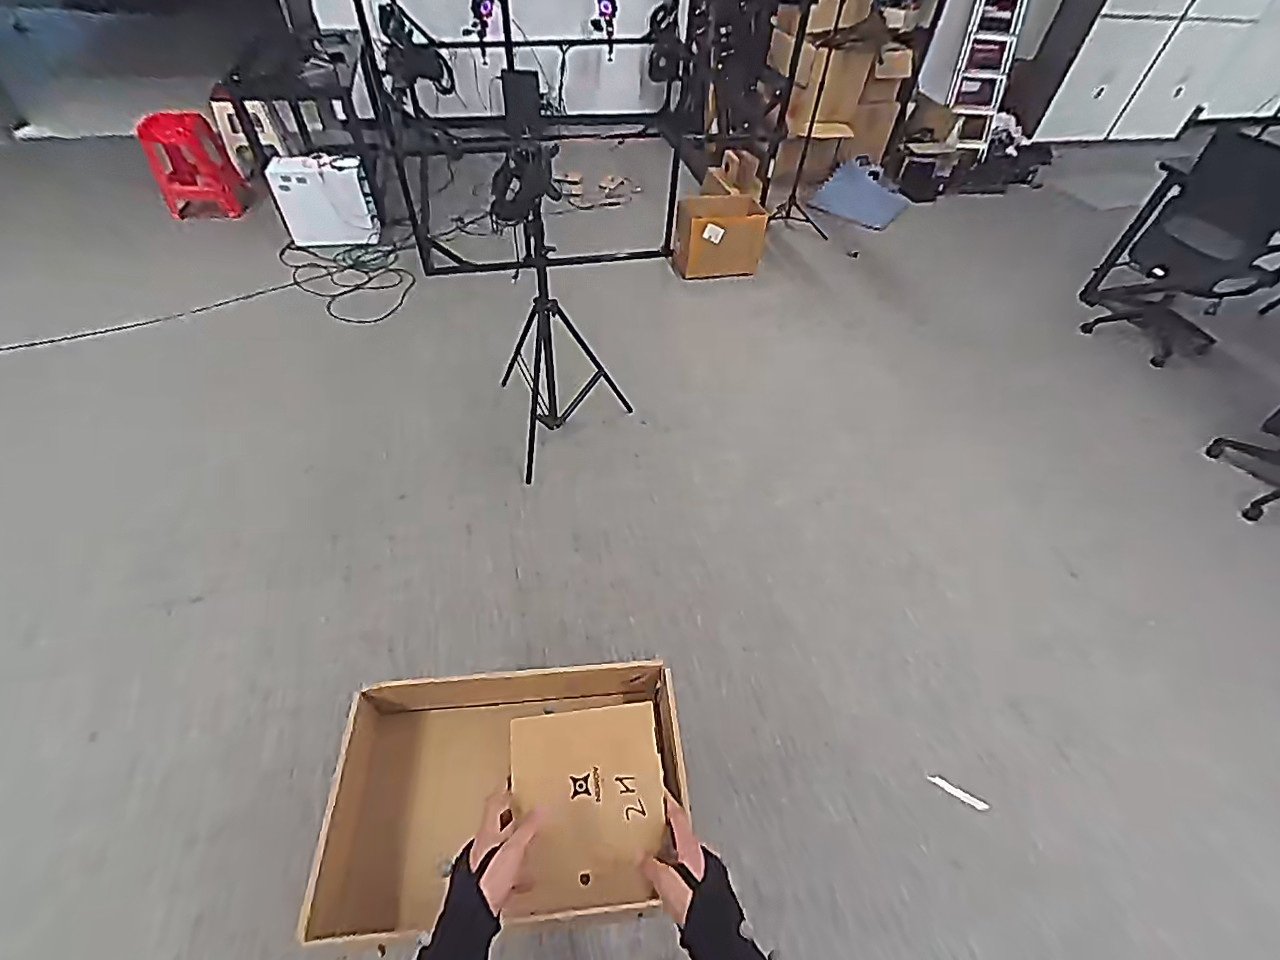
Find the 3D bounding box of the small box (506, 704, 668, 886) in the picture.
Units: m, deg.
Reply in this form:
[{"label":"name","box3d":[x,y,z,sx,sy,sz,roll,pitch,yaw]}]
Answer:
[{"label":"small box","box3d":[-0.069,0.387,0.679,0.179,0.176,0.168,-3,62,-8]}]
